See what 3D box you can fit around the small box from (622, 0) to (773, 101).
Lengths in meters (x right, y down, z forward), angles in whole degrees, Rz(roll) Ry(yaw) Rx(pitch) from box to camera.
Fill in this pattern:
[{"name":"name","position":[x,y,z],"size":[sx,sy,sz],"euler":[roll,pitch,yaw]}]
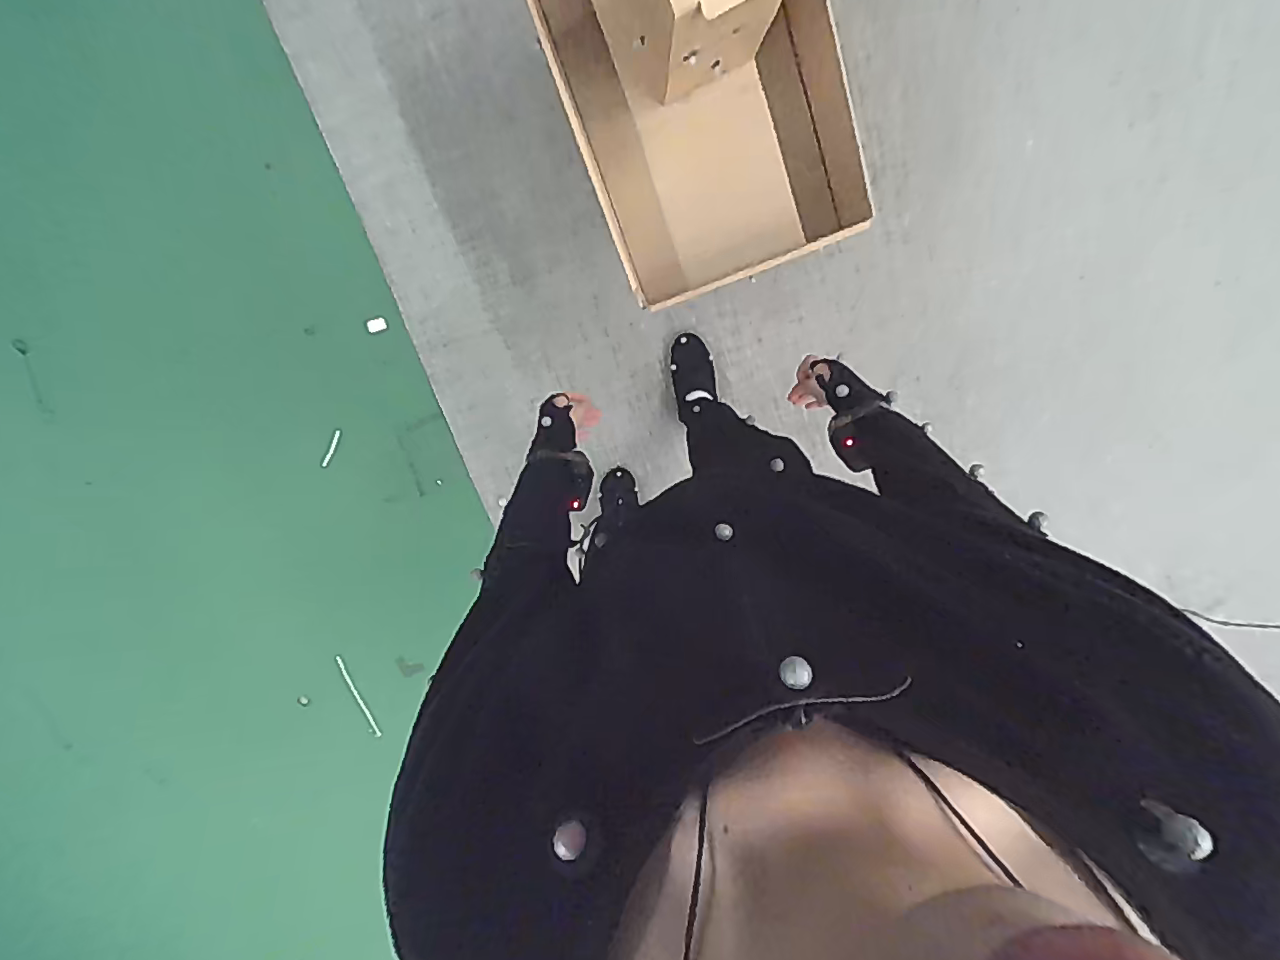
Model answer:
[{"name":"small box","position":[0.078,-0.705,0.808],"size":[0.168,0.176,0.179],"euler":[-23,108,6]}]

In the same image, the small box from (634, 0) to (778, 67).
[{"name":"small box","position":[0.074,-0.646,0.654],"size":[0.168,0.176,0.179],"euler":[-24,106,7]}]
